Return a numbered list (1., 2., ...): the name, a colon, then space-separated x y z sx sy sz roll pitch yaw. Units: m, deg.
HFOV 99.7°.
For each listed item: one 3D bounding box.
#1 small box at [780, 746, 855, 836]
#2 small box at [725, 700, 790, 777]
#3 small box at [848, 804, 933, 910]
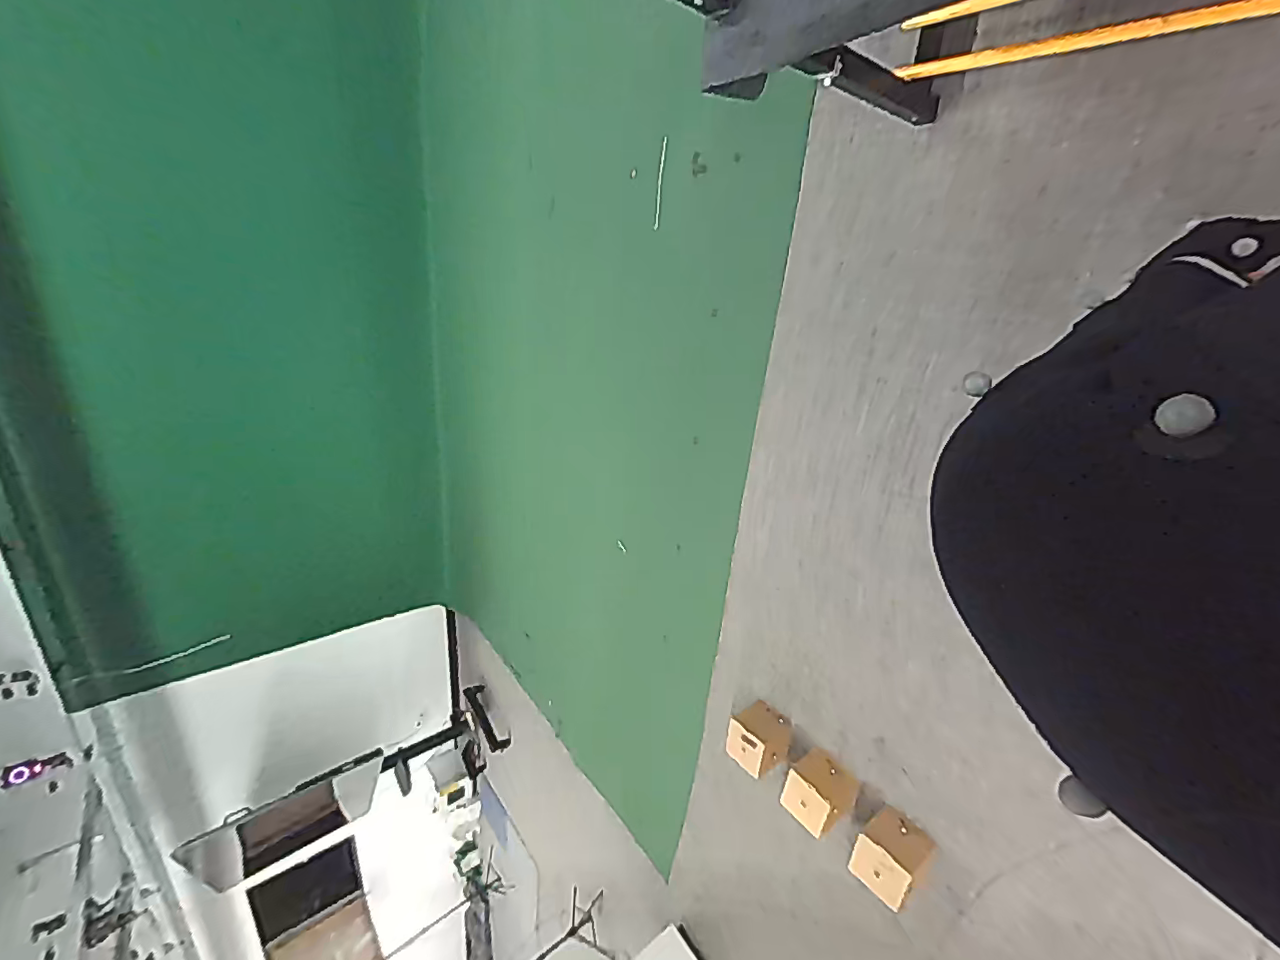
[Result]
1. small box: 0.617 1.072 1.874 0.168 0.176 0.179 31 123 44
2. small box: 0.451 0.978 2.063 0.168 0.176 0.179 28 121 46
3. small box: 0.781 1.166 1.683 0.168 0.176 0.179 28 120 44
